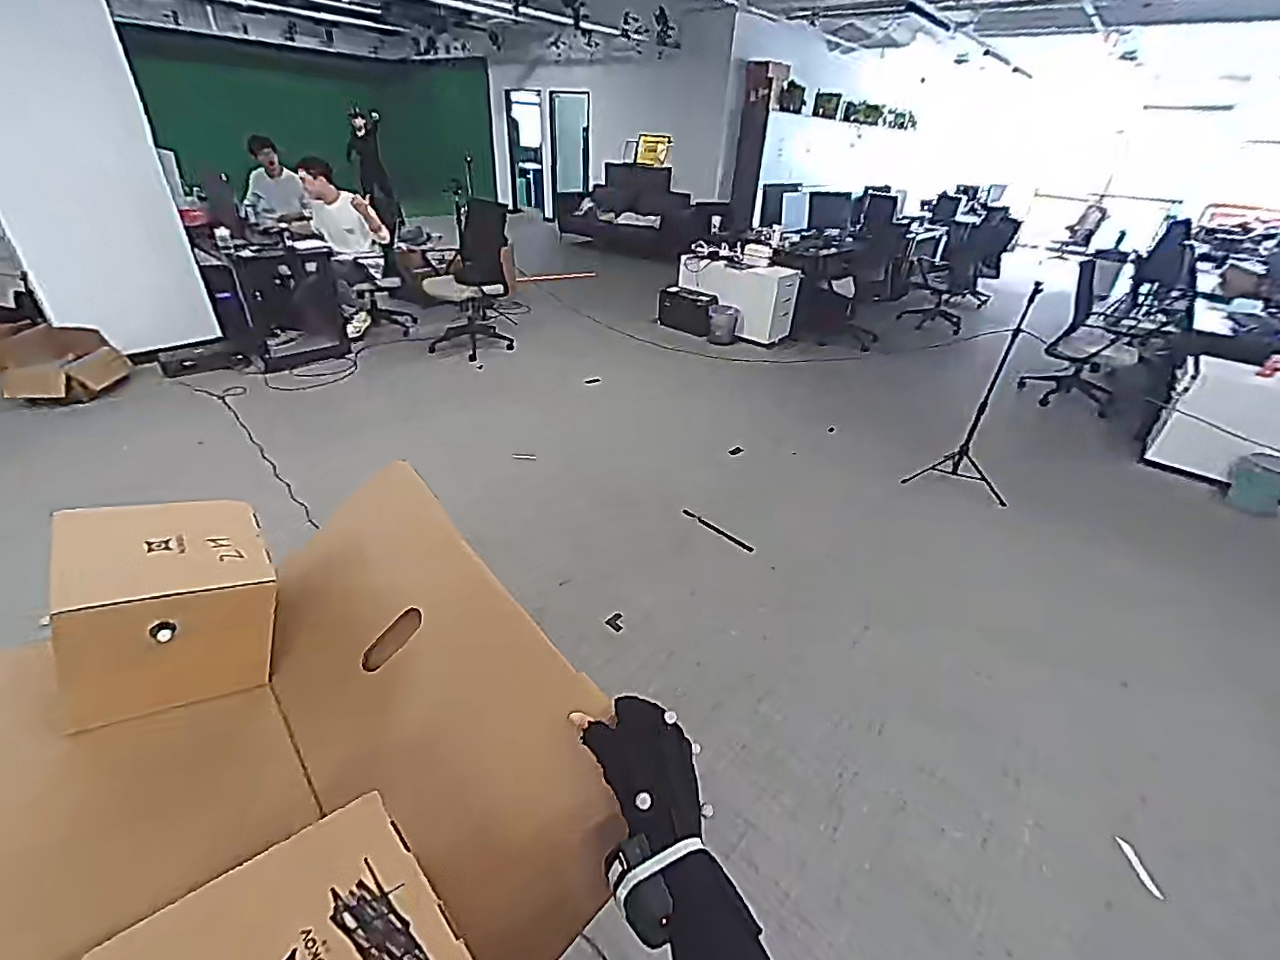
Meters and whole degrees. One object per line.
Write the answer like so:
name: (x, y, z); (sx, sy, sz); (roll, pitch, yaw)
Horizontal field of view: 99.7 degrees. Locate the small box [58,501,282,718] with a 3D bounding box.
small box: (-0.538, 0.141, 0.629); (0.179, 0.176, 0.168); (-2, 34, -44)
